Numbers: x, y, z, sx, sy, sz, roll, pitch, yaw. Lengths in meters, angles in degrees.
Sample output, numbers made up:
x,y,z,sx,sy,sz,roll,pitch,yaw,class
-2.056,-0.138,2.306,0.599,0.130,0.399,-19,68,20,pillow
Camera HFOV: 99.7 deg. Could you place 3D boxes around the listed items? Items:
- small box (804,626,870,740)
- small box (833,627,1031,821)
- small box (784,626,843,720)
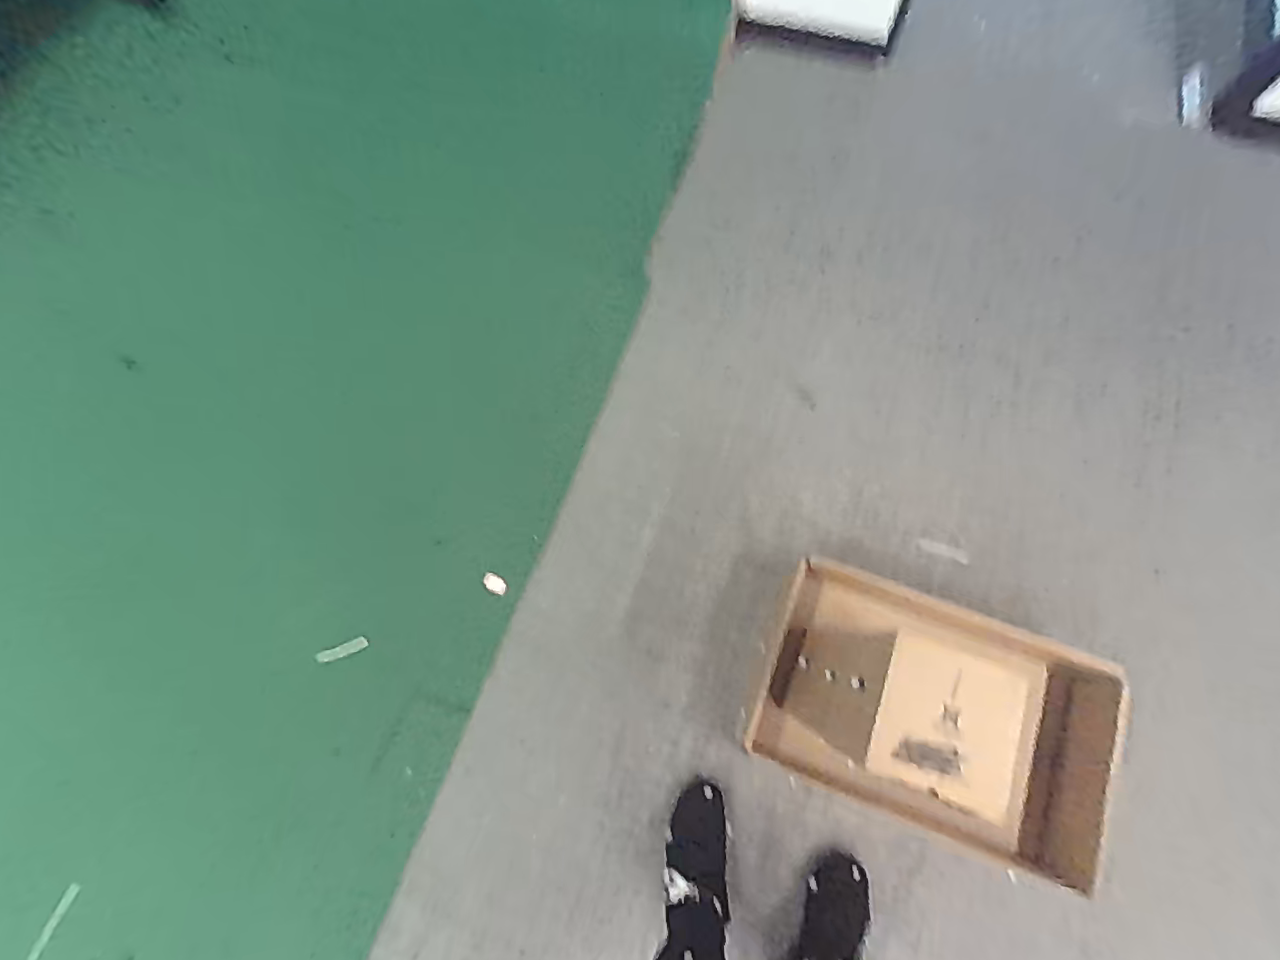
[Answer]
x,y,z,sx,sy,sz,roll,pitch,yaw,class
0.389,0.357,0.893,0.168,0.176,0.179,22,76,9,small box
0.381,0.314,0.735,0.168,0.176,0.179,20,75,8,small box
0.396,0.400,1.050,0.168,0.176,0.179,22,75,8,small box
